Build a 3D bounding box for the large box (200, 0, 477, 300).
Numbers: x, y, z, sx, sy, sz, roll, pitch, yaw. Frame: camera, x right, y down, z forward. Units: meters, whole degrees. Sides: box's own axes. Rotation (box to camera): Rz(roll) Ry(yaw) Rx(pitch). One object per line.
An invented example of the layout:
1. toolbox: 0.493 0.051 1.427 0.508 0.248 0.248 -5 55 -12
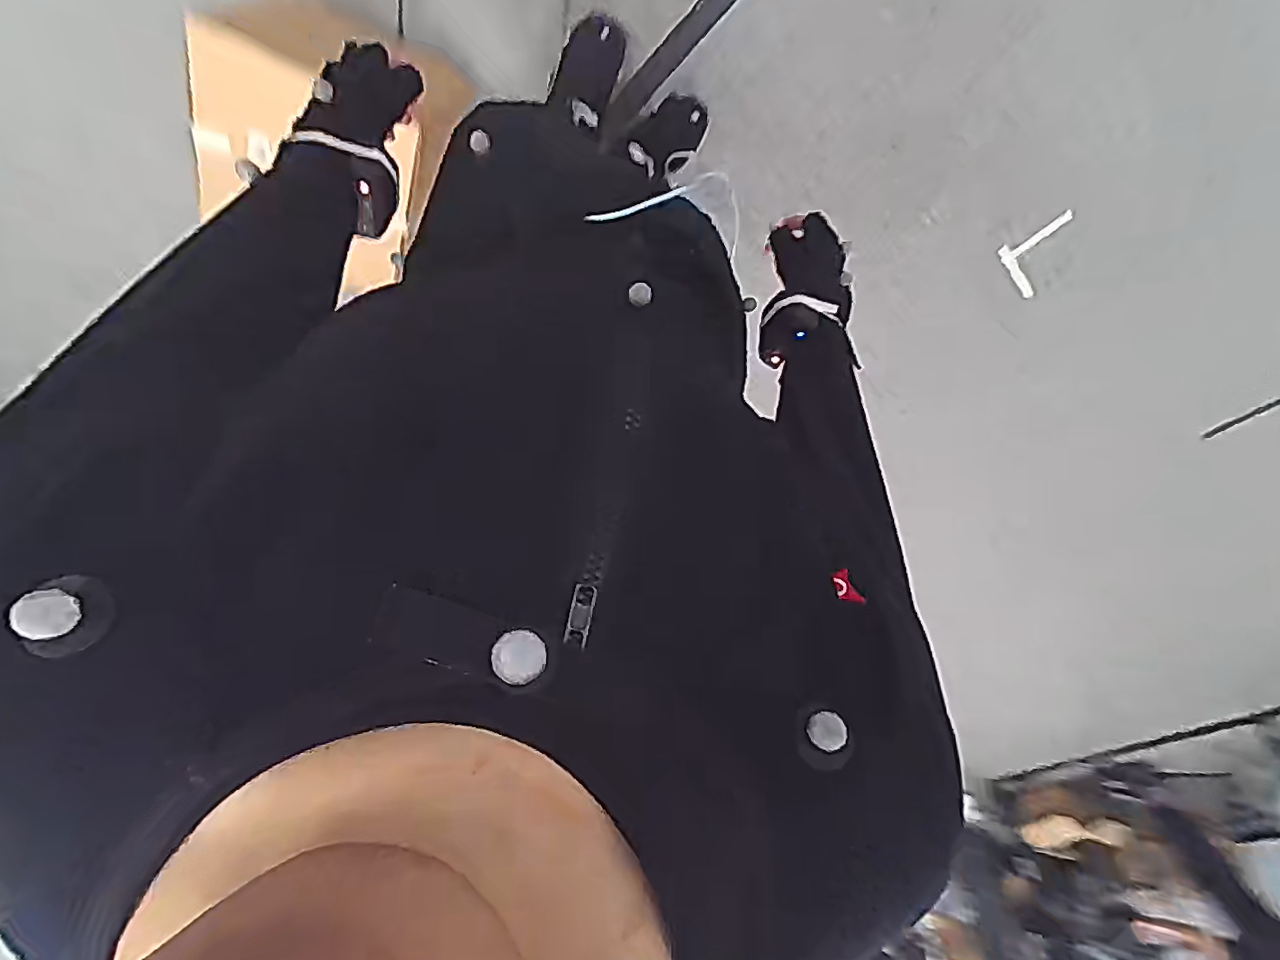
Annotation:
1. large box: -0.527 -0.615 1.006 0.320 0.408 0.320 19 133 -20
